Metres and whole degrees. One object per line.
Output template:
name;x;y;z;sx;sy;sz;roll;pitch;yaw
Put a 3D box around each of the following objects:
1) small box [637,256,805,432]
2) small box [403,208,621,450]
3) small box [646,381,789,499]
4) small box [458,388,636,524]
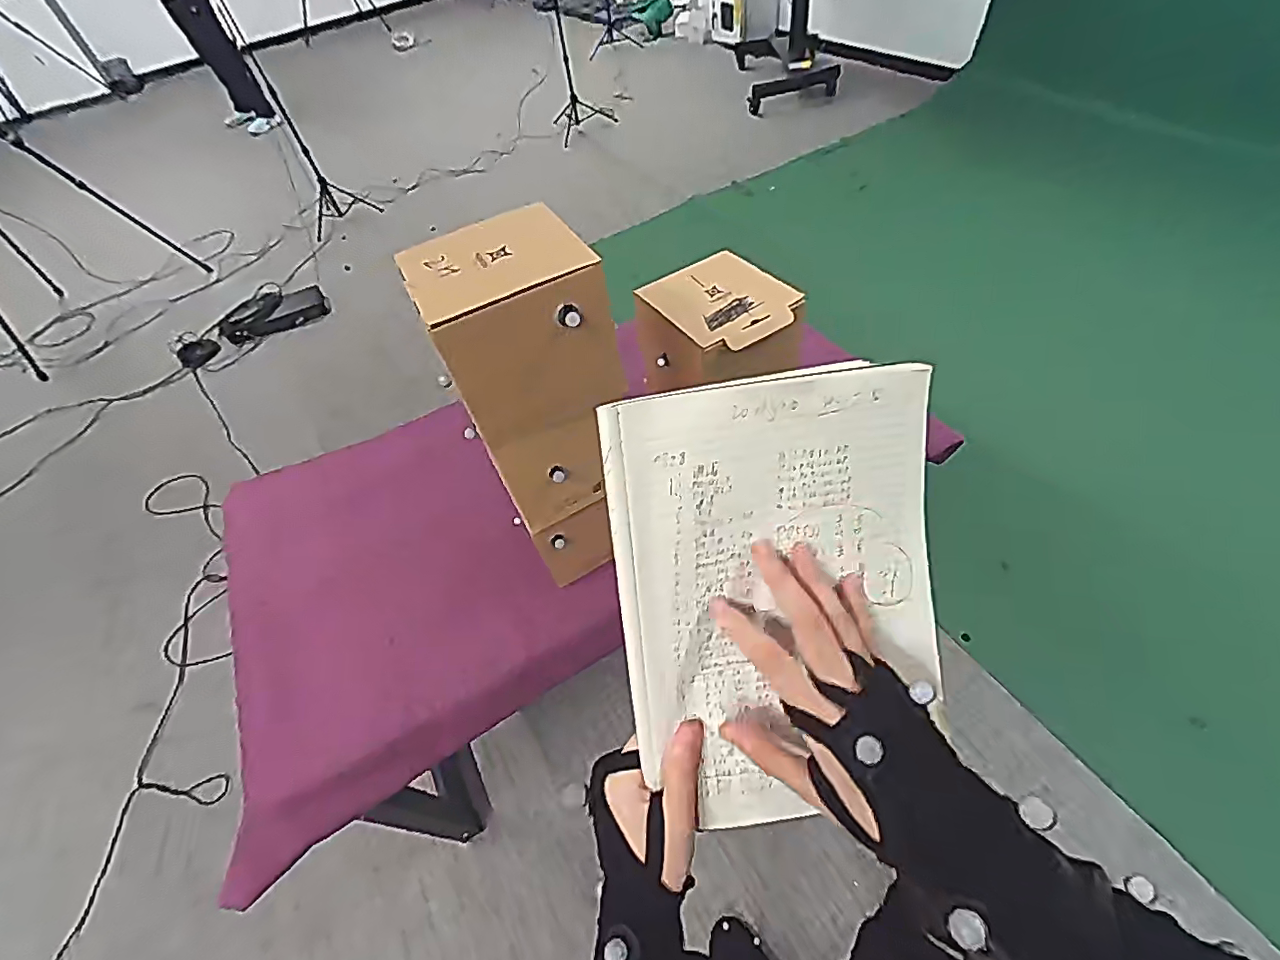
small box;0.116;-0.192;0.797;0.168;0.176;0.179;-28;51;-14
small box;-0.131;-0.167;0.603;0.179;0.176;0.168;-26;51;-11
small box;0.131;-0.090;0.924;0.168;0.176;0.179;-27;52;-13
small box;-0.120;-0.064;0.732;0.168;0.176;0.179;-28;52;-13
